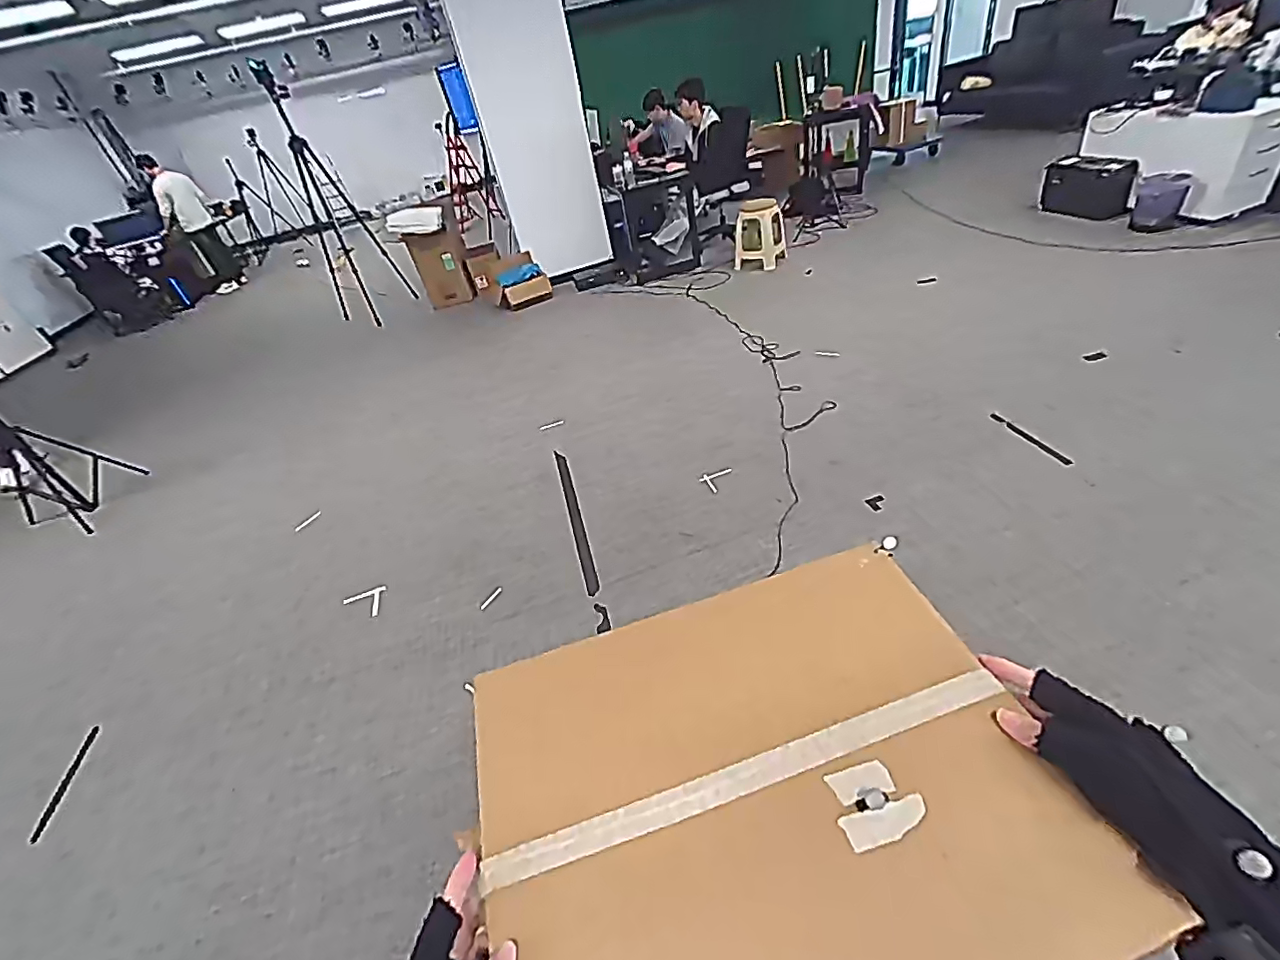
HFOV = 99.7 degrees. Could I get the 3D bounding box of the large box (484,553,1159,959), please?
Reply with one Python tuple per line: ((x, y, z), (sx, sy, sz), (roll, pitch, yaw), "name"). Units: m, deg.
((0.106, 0.334, 0.508), (0.408, 0.320, 0.320), (-17, 43, -7), "large box")
